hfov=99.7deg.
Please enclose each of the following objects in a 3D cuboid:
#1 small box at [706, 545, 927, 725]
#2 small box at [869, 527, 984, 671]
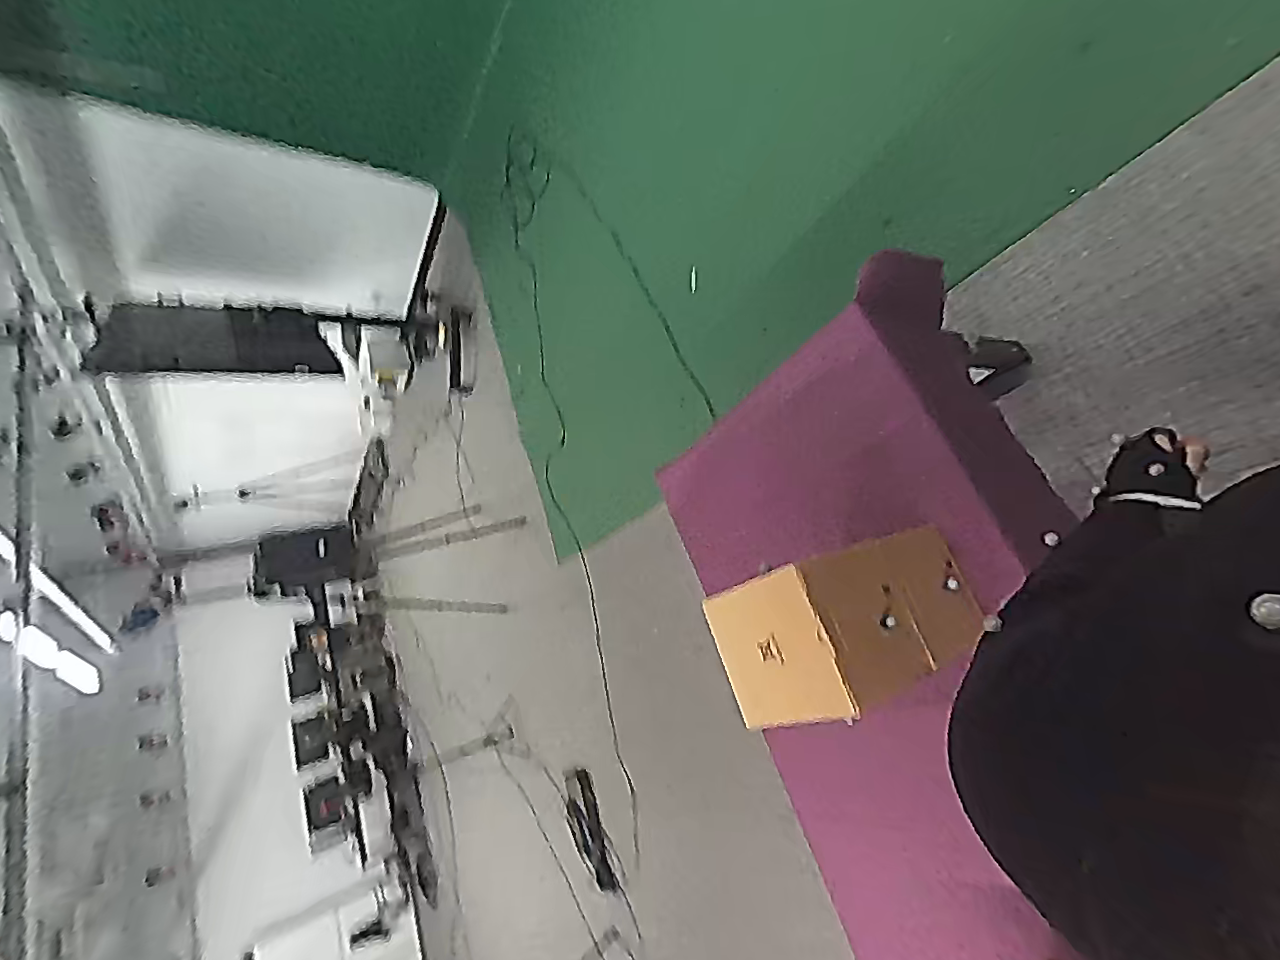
[{"bbox_3d":[0.222,0.195,0.693,0.179,0.176,0.168,-40,64,47],"label":"small box"},{"bbox_3d":[0.352,0.182,0.790,0.179,0.176,0.168,-40,65,48],"label":"small box"}]
